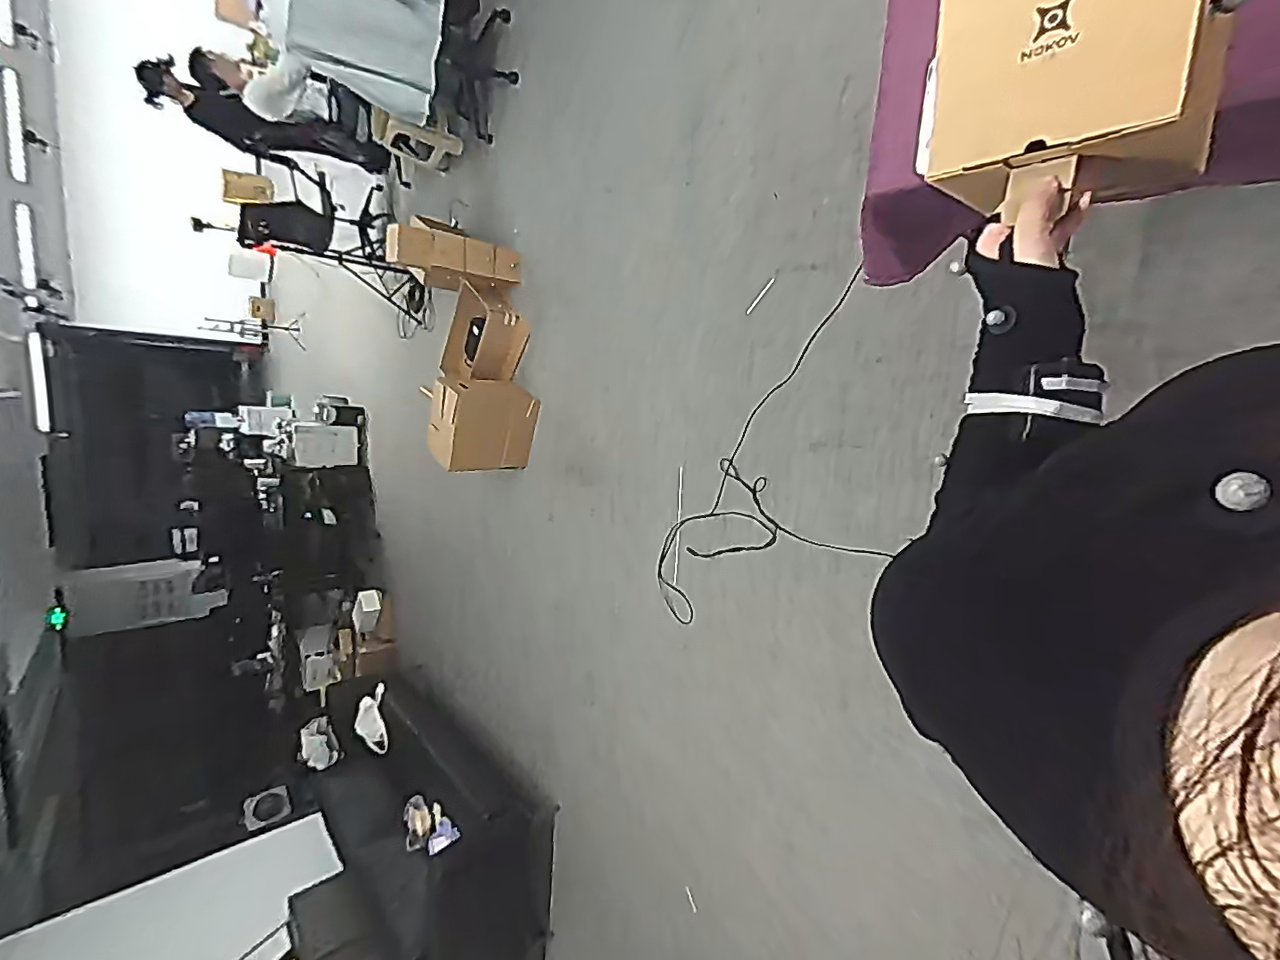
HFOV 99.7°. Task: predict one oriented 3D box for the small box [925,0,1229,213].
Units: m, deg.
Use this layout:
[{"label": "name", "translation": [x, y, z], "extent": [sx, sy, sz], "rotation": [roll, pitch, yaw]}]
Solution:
[{"label": "small box", "translation": [0.368, -0.348, 0.458], "extent": [0.168, 0.176, 0.179], "rotation": [13, 108, 46]}]
